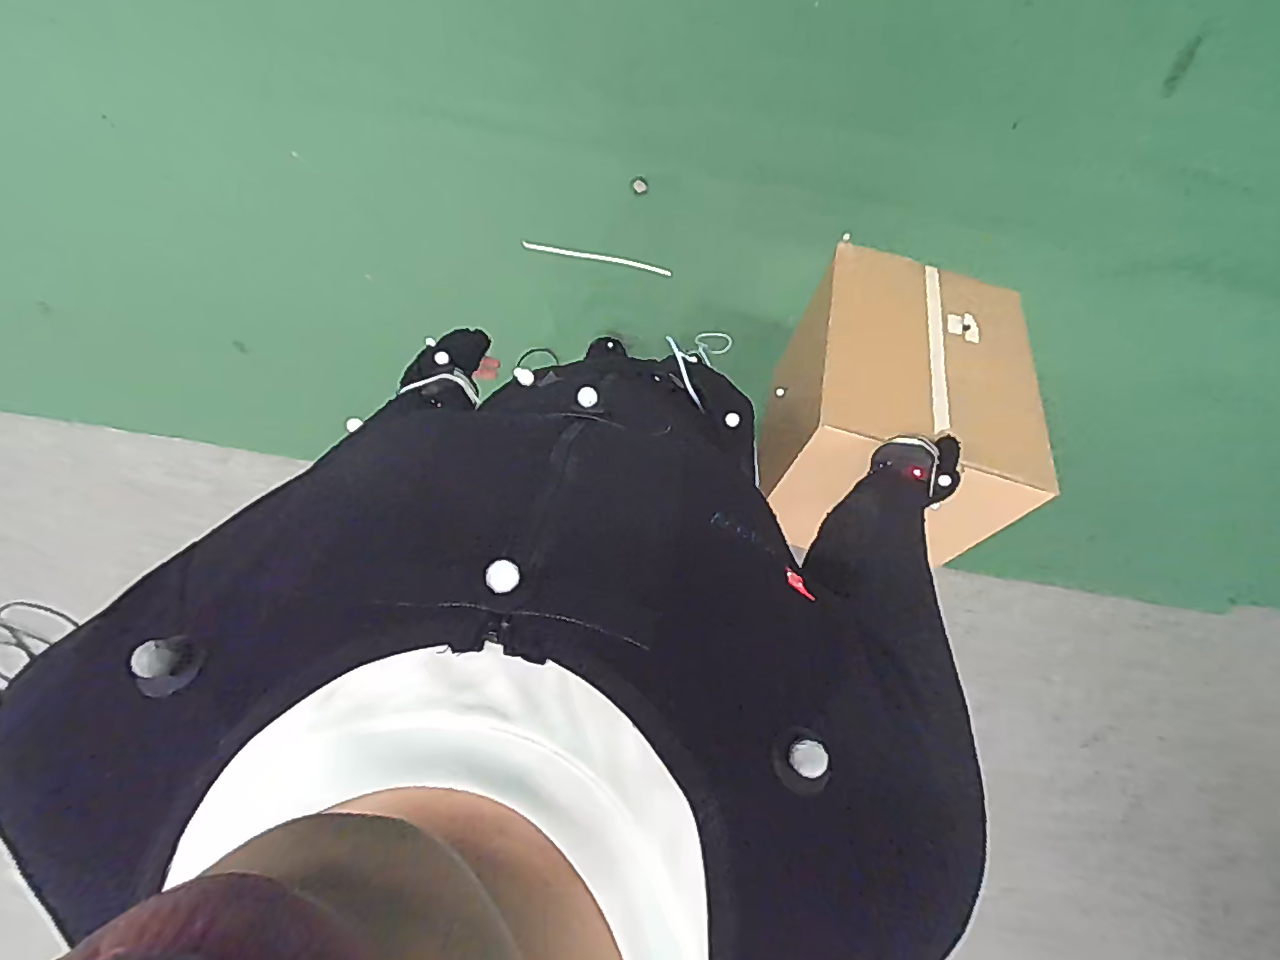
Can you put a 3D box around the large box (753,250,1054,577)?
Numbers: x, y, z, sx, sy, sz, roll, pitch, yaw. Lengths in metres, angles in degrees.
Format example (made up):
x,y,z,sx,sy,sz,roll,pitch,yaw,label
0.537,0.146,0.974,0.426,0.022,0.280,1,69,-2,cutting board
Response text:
x,y,z,sx,sy,sz,roll,pitch,yaw,label
0.402,-0.104,0.915,0.320,0.408,0.320,17,147,0,large box
